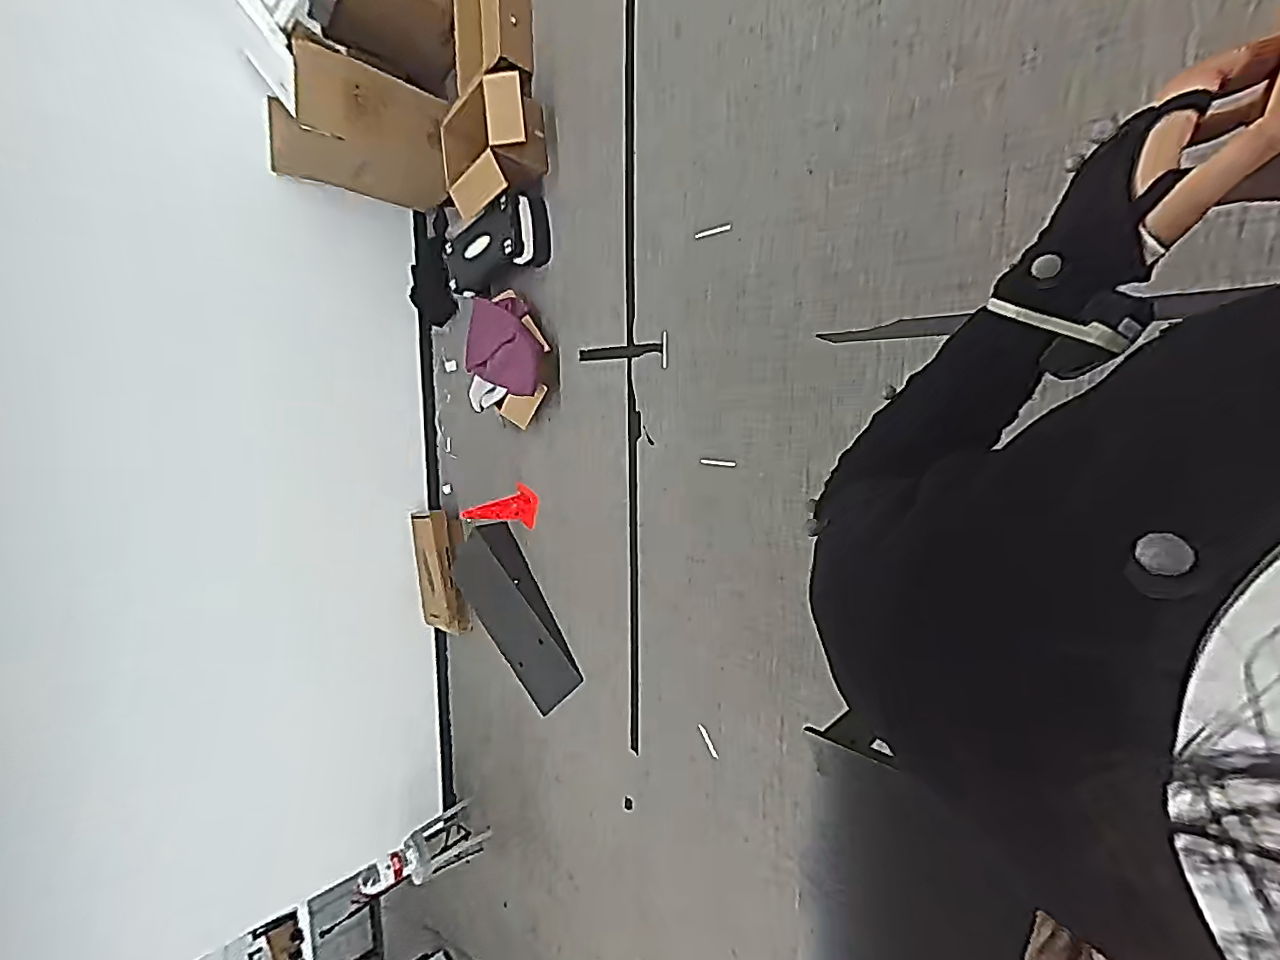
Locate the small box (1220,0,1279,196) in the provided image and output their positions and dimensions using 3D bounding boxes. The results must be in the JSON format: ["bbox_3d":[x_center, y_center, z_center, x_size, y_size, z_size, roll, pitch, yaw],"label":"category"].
[{"bbox_3d":[0.459,-0.267,0.284,0.168,0.176,0.179,19,112,36],"label":"small box"}]
